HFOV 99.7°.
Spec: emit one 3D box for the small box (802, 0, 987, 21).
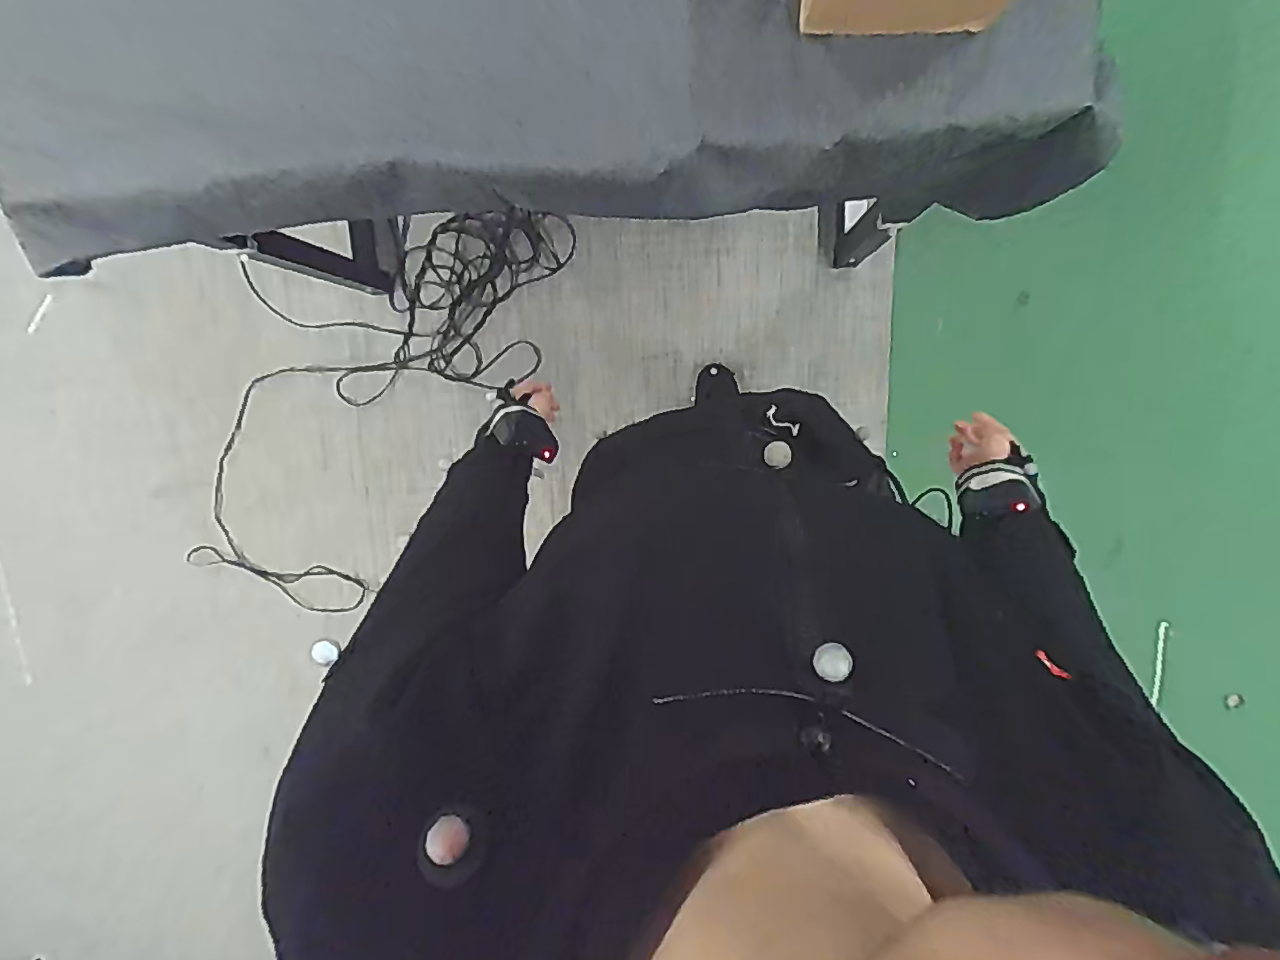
[{"bbox_3d":[0.235,-0.507,0.428,0.179,0.176,0.168,4,101,5],"label":"small box"}]
